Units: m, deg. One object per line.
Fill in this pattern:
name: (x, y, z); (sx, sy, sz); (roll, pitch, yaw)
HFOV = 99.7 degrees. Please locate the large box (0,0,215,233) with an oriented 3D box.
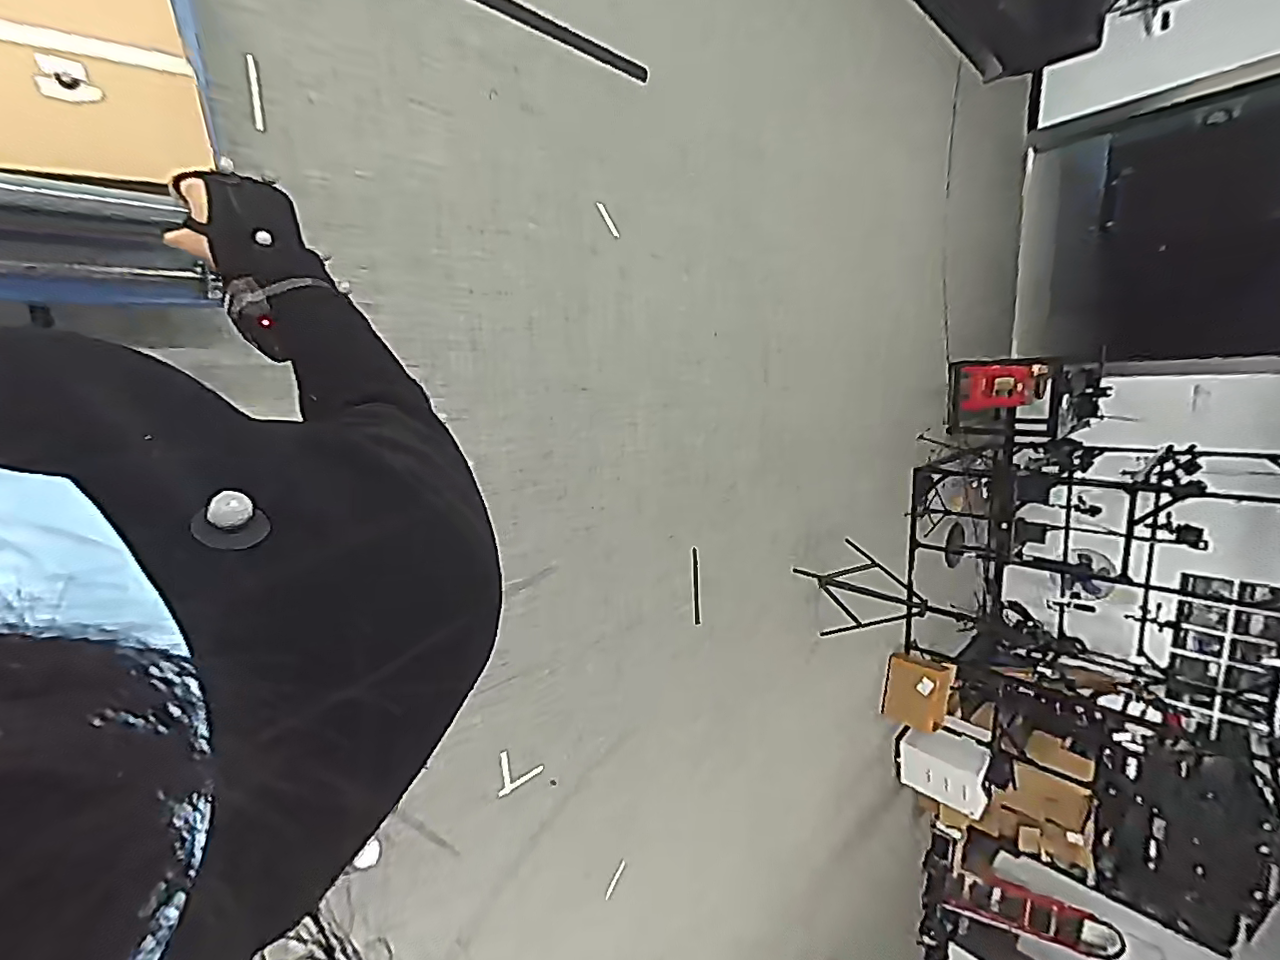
large box: (-0.897, -0.546, 0.745); (0.408, 0.320, 0.320); (-19, 109, -43)
